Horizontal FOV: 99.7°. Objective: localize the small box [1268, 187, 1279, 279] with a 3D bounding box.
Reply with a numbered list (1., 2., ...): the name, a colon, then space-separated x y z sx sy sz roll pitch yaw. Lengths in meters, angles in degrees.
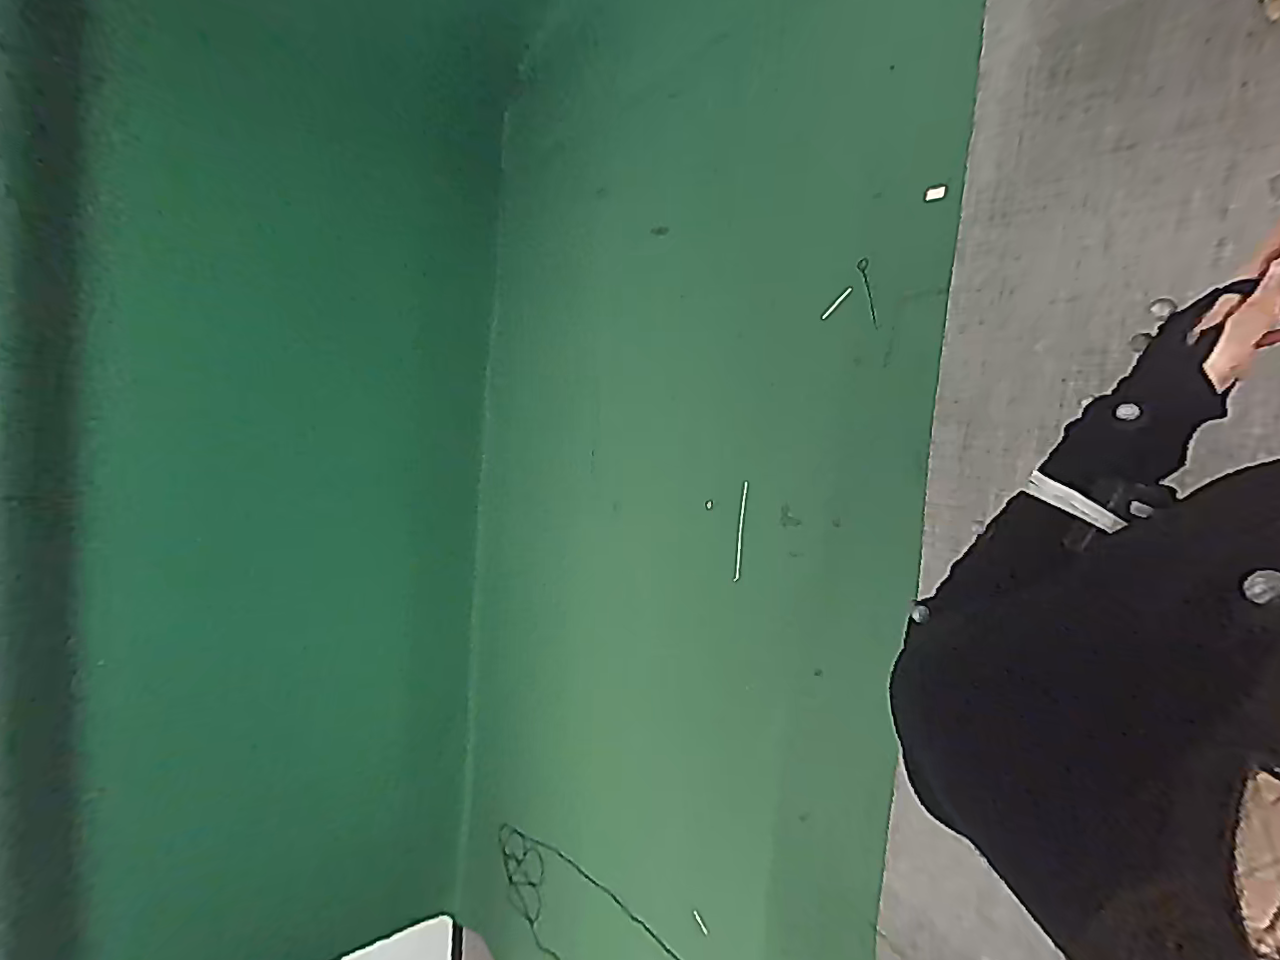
1. small box: 0.471 -0.205 0.282 0.168 0.176 0.179 11 100 48
